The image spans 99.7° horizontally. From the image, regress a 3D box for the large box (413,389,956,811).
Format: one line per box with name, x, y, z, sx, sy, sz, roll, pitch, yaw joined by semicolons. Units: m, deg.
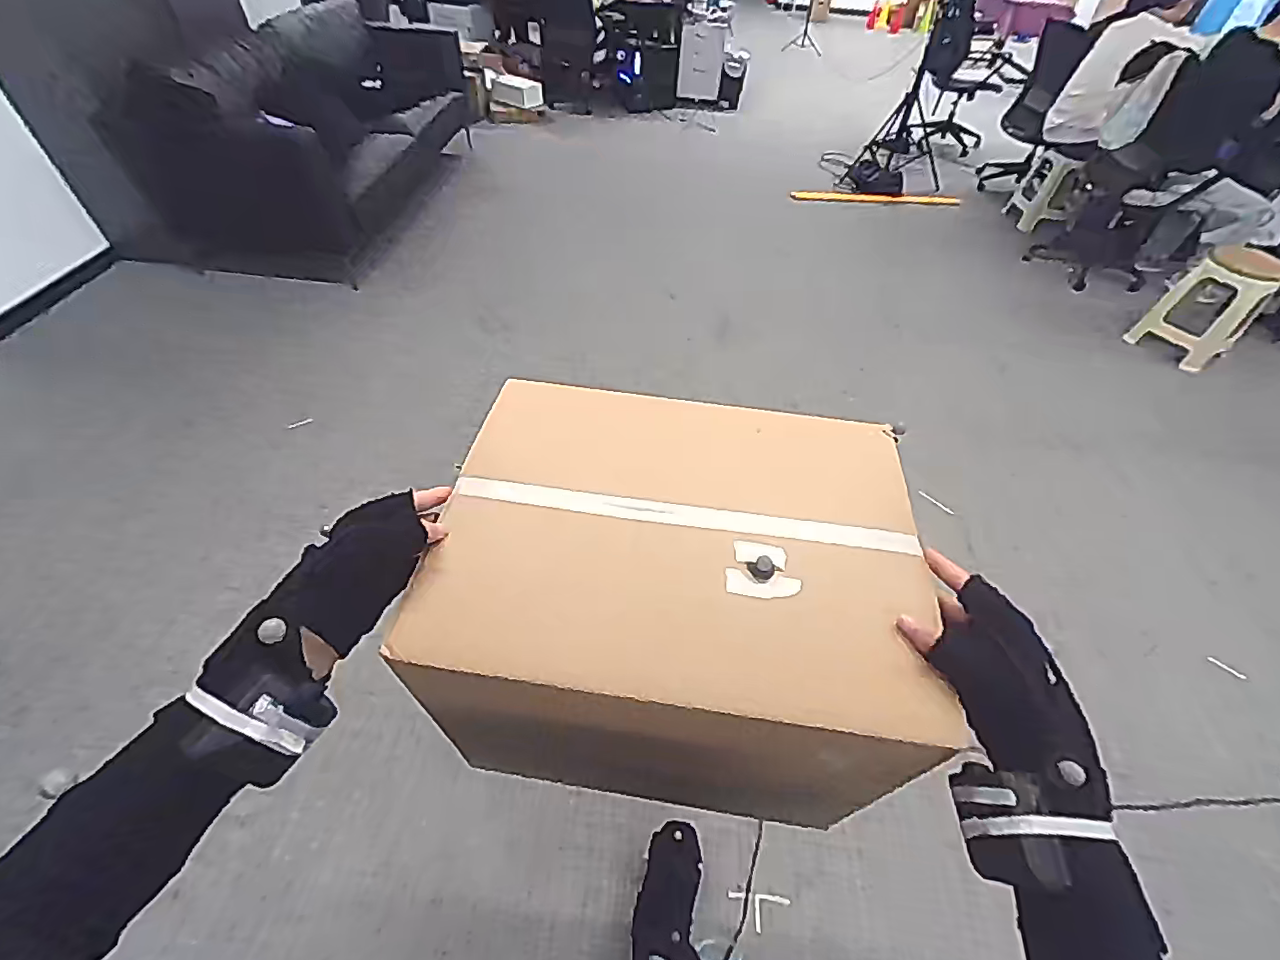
large box;0.036;0.134;0.595;0.408;0.320;0.320;8;50;3
